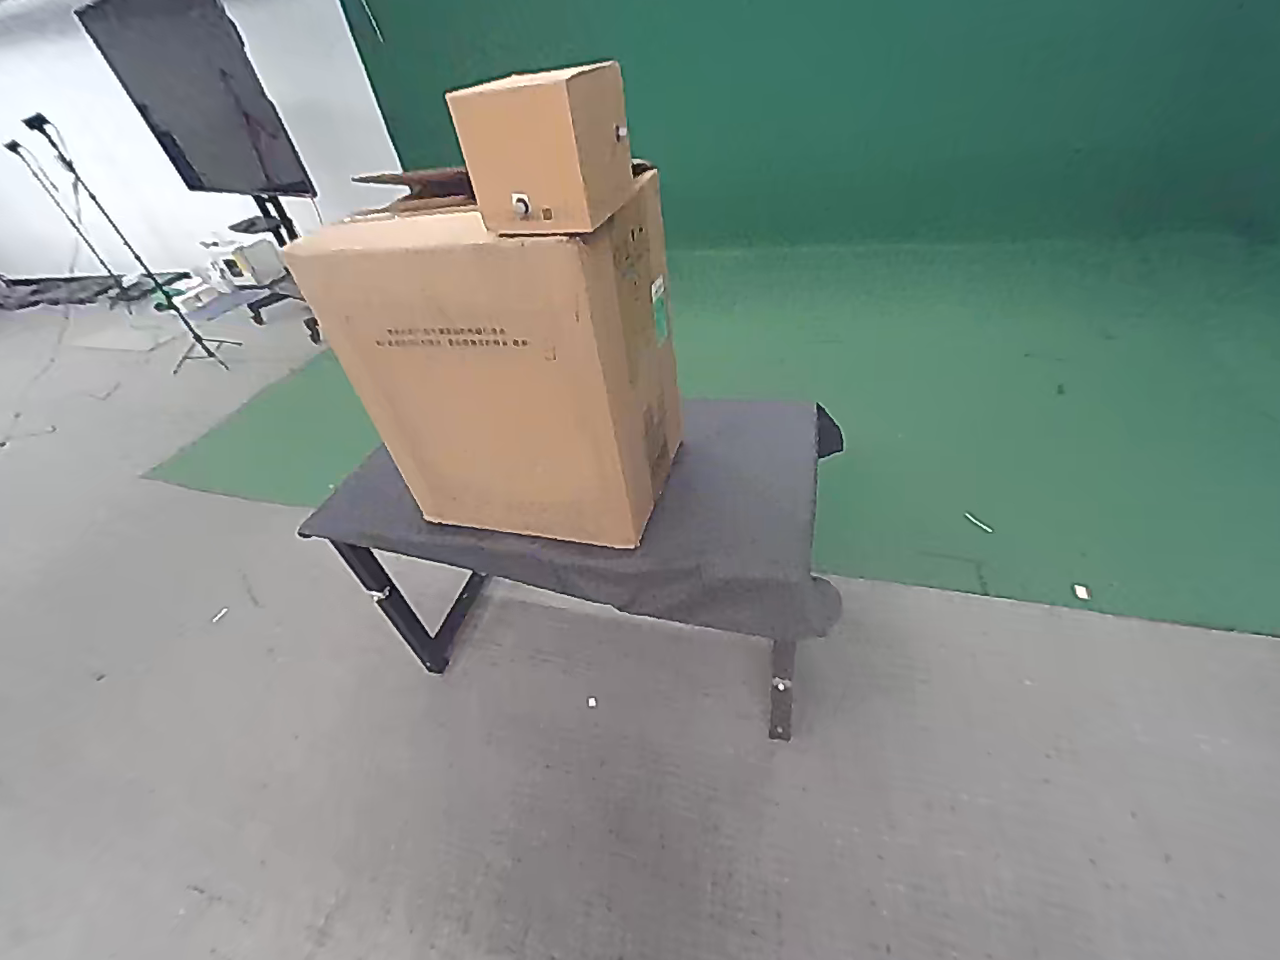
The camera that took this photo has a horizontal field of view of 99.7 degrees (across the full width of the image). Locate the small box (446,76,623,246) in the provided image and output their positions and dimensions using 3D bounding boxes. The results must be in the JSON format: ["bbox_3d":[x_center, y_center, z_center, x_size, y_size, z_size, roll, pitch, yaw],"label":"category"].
[{"bbox_3d":[-0.129,-0.439,0.751,0.168,0.176,0.179,5,43,18],"label":"small box"}]
